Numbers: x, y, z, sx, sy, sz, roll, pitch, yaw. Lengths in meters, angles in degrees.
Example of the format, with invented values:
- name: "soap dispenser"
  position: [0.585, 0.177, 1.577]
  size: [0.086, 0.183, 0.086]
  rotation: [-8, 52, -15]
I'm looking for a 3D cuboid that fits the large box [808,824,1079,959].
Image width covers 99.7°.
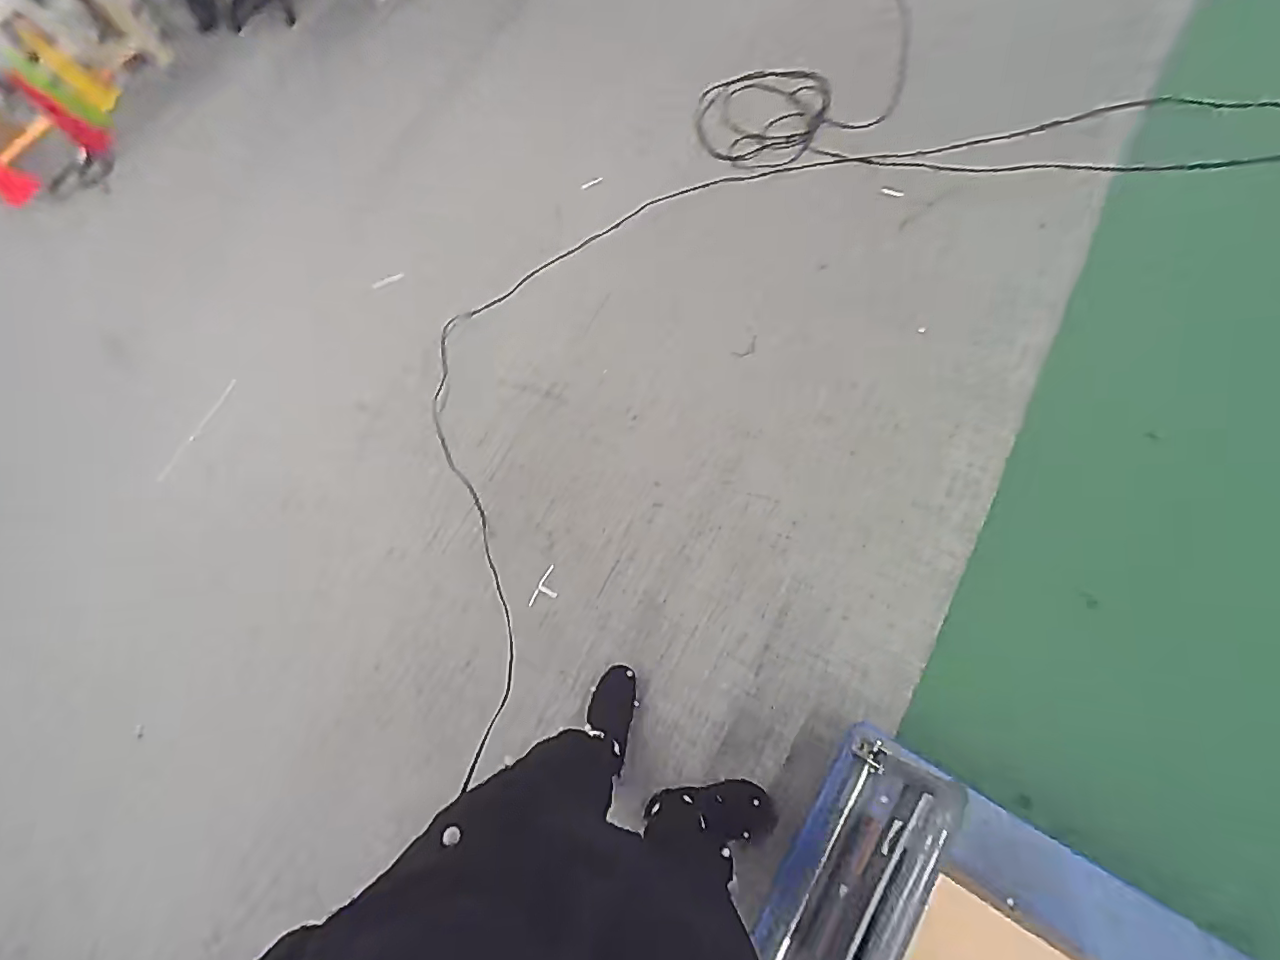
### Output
- name: "large box"
  position: [0.529, 0.854, 0.876]
  size: [0.408, 0.320, 0.320]
  rotation: [28, 77, 19]
